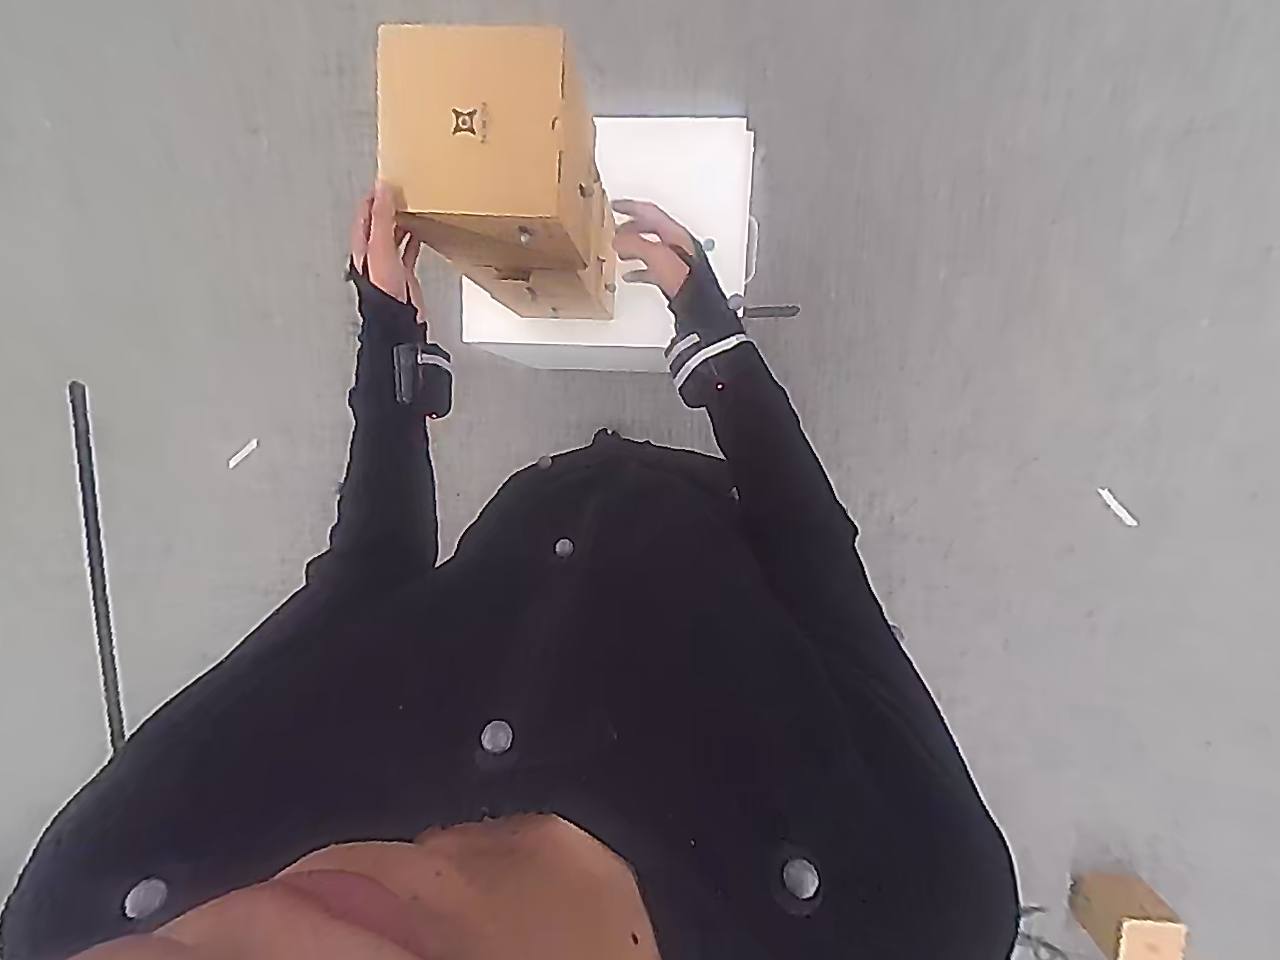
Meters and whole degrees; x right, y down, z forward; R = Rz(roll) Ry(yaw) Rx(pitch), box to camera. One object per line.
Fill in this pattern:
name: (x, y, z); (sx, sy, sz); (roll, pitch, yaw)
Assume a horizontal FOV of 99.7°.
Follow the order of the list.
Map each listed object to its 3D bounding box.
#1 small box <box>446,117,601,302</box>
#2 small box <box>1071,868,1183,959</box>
small box: (-0.149, -0.356, 0.739); (0.168, 0.176, 0.179); (5, 97, 4)
small box: (1.453, 1.307, 1.621); (0.179, 0.176, 0.168); (2, 96, 3)
